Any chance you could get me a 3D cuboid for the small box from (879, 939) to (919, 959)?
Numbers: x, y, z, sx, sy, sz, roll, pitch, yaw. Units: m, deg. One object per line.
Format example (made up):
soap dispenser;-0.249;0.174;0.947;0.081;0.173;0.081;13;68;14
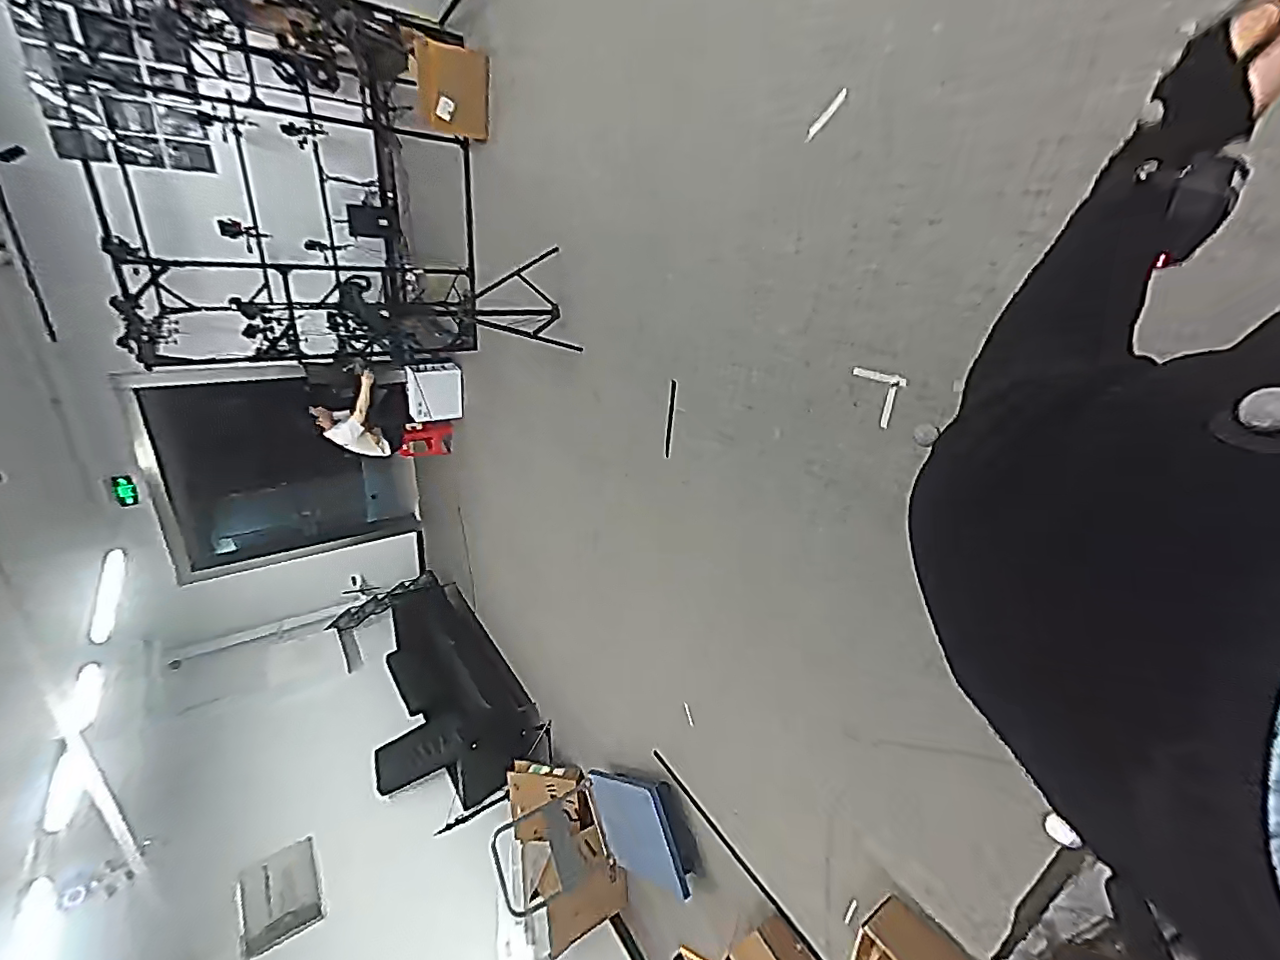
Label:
small box;0.876;1.709;1.812;0.168;0.176;0.179;31;126;48
